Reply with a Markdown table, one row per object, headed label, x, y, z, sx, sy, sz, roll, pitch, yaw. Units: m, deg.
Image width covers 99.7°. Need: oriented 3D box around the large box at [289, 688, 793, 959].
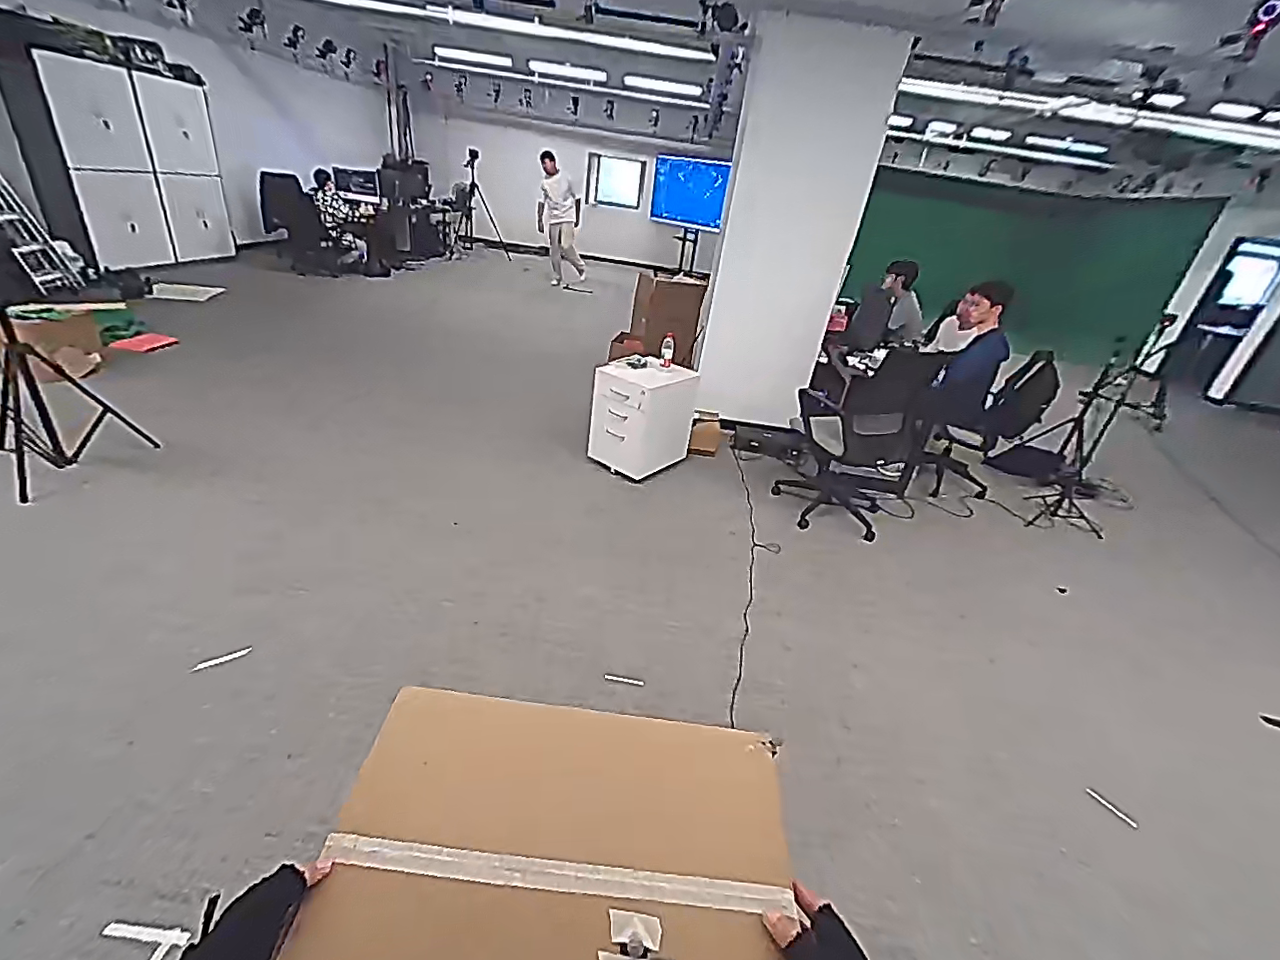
| label | x | y | z | sx | sy | sz | roll | pitch | yaw |
| --- | --- | --- | --- | --- | --- | --- | --- | --- | --- |
| large box | -0.086 | 0.464 | 0.566 | 0.408 | 0.320 | 0.320 | 9 | 36 | -1 |
